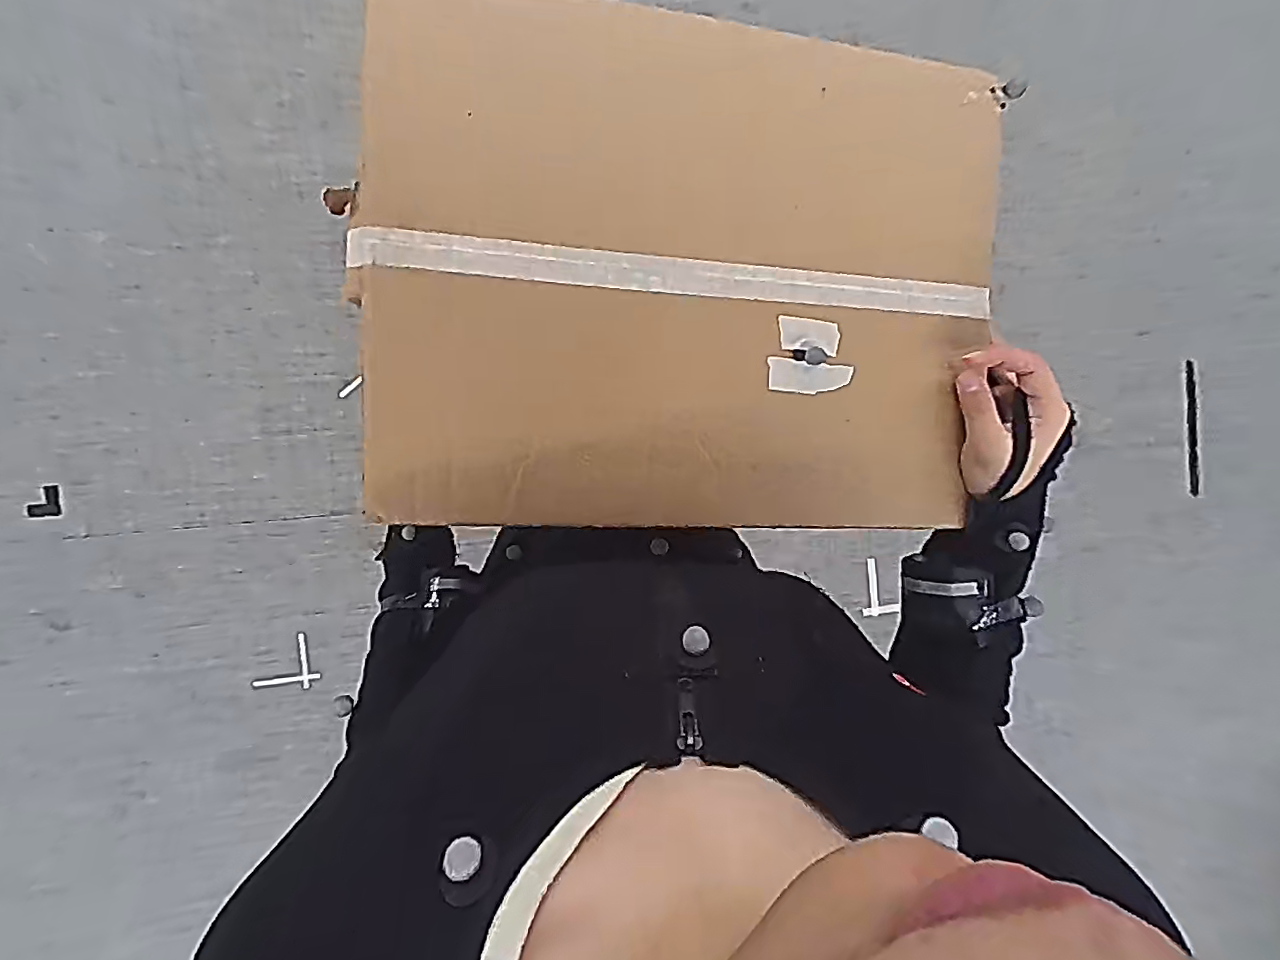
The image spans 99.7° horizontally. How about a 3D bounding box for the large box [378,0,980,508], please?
[{"bbox_3d":[0.012,-0.146,0.494,0.408,0.320,0.320,1,94,-13],"label":"large box"}]
